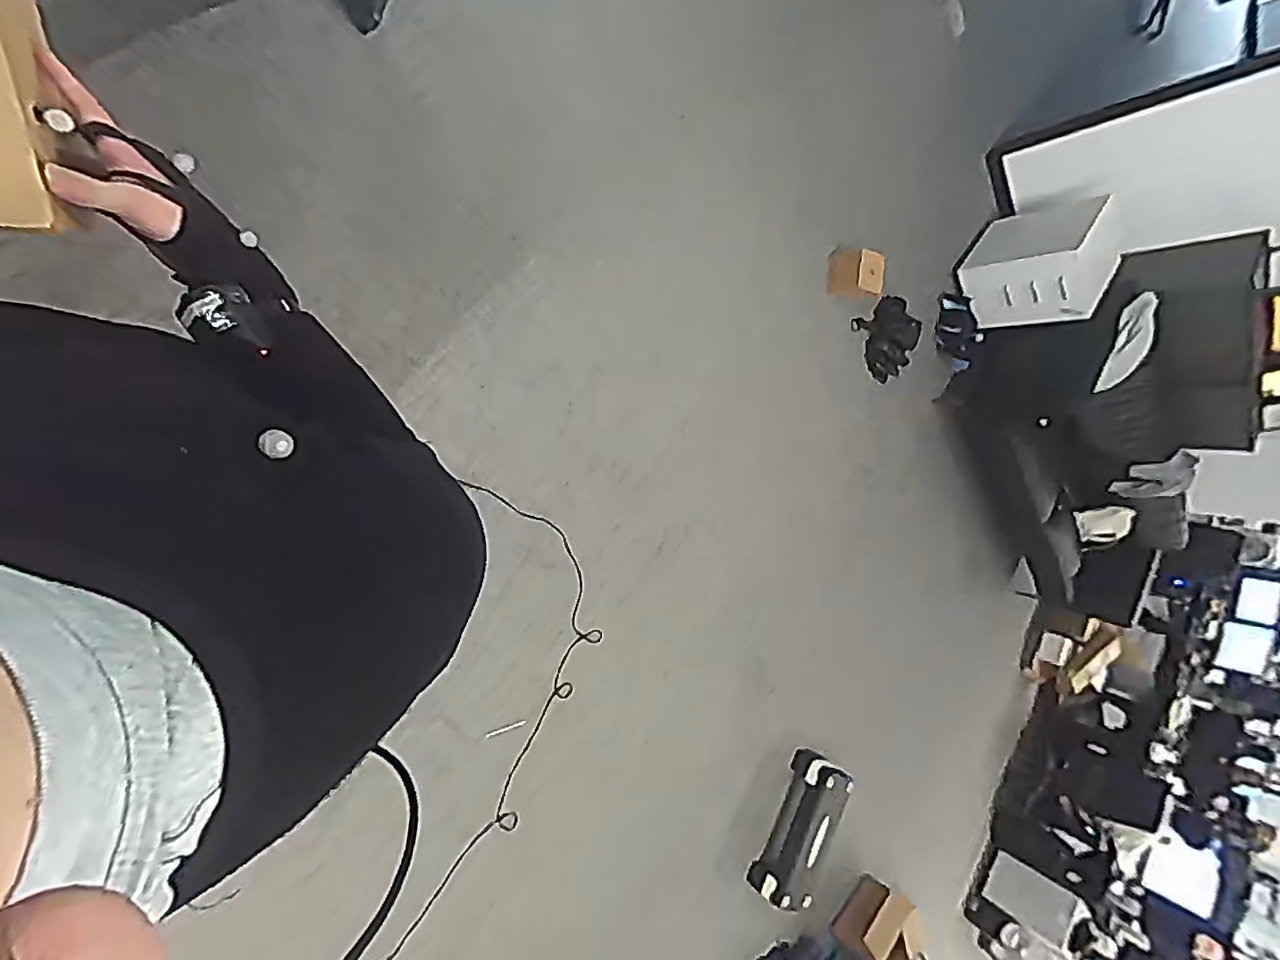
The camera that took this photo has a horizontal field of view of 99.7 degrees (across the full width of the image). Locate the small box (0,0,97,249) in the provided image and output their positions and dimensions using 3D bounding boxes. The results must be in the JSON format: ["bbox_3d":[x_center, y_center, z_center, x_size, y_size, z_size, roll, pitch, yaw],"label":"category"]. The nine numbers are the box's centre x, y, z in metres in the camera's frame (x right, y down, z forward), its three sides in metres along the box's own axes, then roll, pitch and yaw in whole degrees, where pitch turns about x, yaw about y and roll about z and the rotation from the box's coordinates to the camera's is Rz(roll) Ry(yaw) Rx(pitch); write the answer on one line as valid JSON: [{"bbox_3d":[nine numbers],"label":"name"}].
[{"bbox_3d":[-0.468,-0.243,0.325,0.168,0.176,0.179,-13,118,-36],"label":"small box"}]
